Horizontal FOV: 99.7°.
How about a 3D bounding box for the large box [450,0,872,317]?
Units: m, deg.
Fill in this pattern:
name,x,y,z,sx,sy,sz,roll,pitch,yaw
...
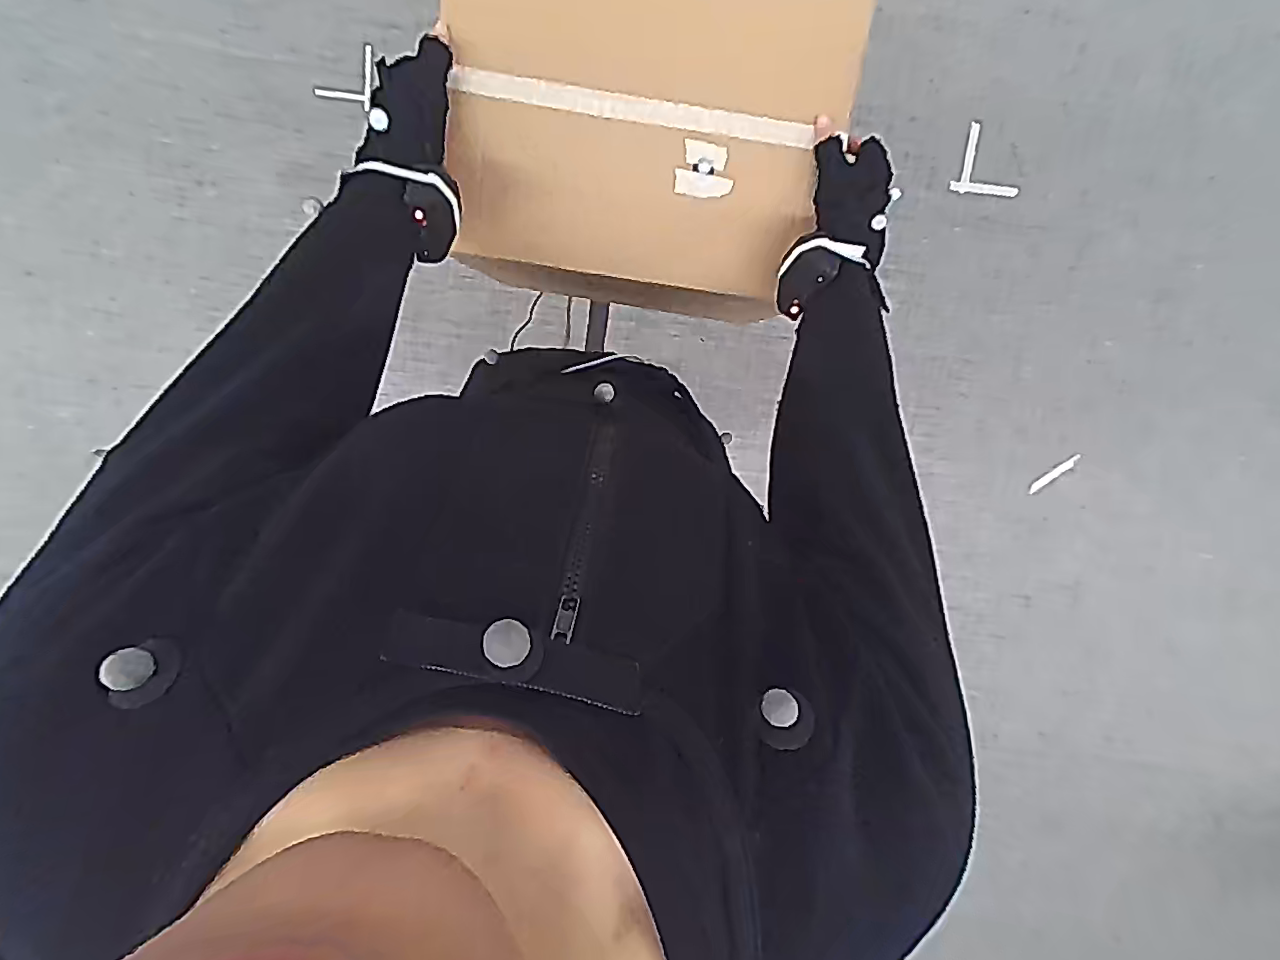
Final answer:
name,x,y,z,sx,sy,sz,roll,pitch,yaw
large box,0.007,-0.403,0.693,0.408,0.320,0.320,8,104,-4
